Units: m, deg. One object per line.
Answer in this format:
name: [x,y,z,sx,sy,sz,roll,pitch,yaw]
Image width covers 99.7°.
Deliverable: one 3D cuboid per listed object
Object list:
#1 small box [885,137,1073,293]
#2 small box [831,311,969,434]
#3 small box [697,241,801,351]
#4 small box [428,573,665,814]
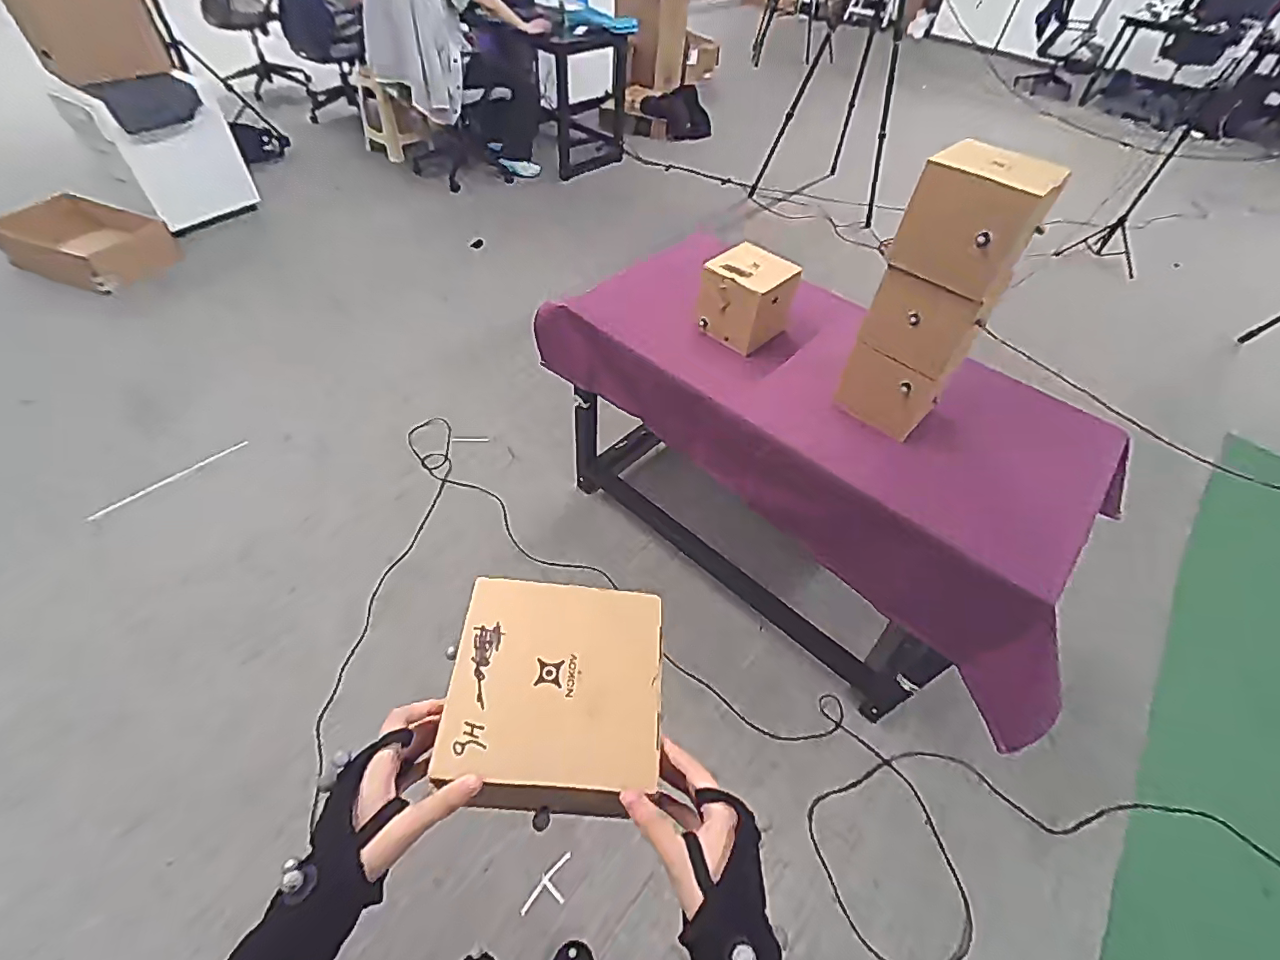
small box: [0.547,-0.431,0.891,0.179,0.176,0.168,38,56,24]
small box: [0.541,-0.220,1.143,0.179,0.176,0.168,38,56,23]
small box: [0.253,-0.438,1.298,0.168,0.176,0.179,37,56,23]
small box: [-0.081,0.211,0.518,0.179,0.176,0.168,9,51,-5]
